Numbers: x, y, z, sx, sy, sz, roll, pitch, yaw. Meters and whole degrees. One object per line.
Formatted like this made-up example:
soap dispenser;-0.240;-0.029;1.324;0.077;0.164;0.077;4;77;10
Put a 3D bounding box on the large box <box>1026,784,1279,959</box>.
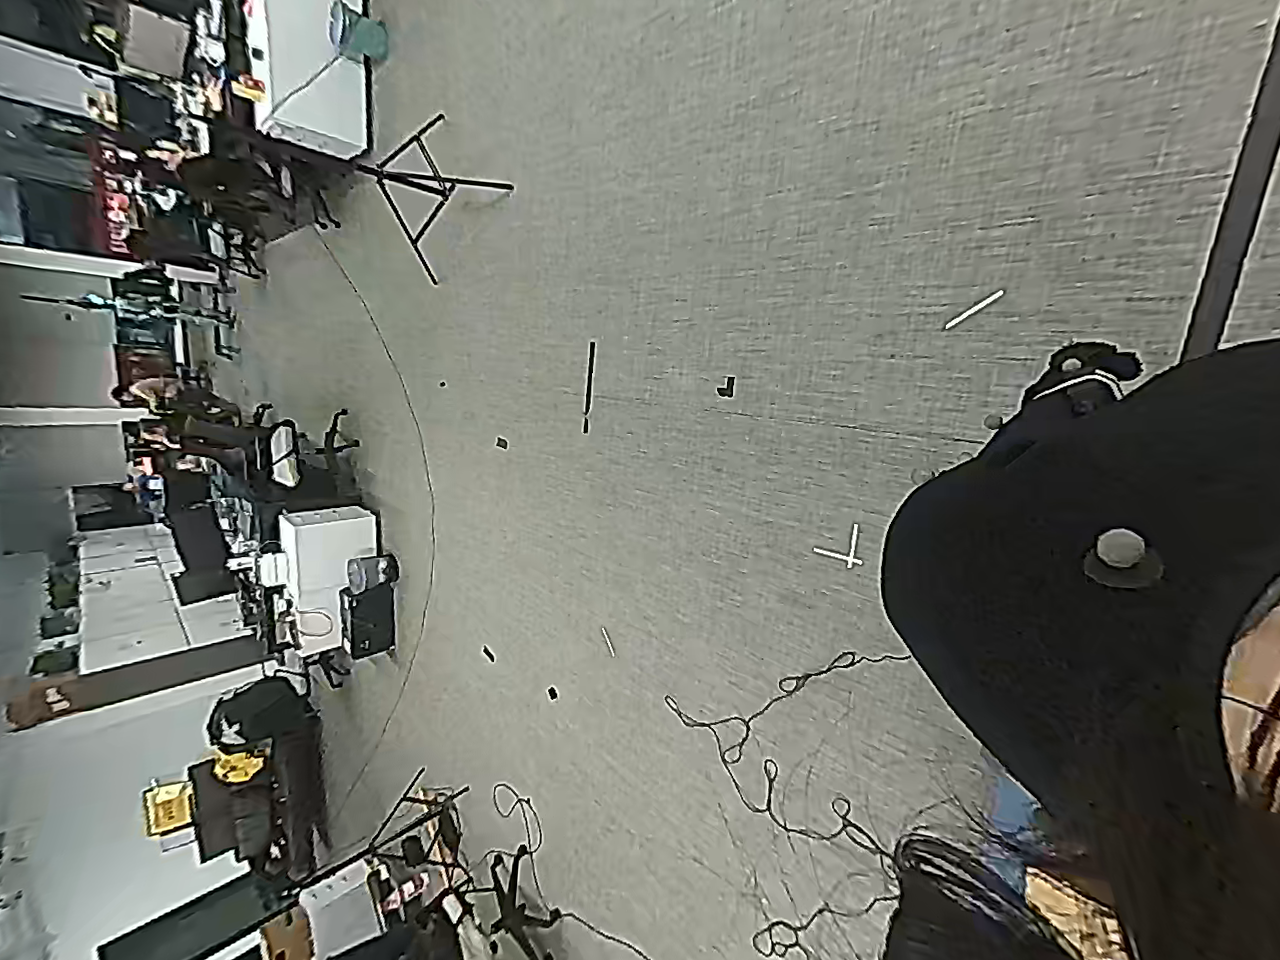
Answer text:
large box;0.931;0.809;0.916;0.408;0.320;0.320;5;98;46
